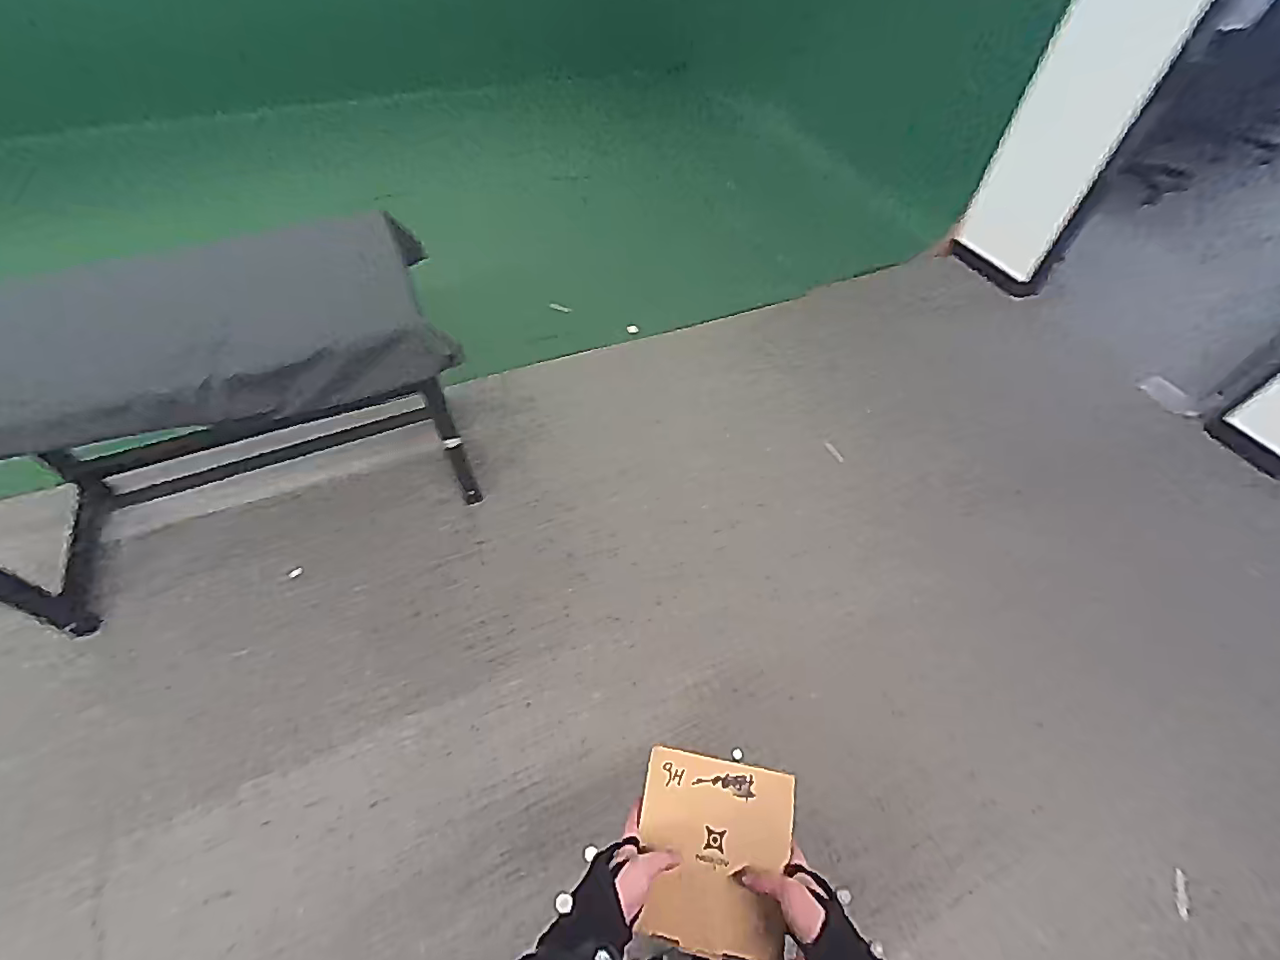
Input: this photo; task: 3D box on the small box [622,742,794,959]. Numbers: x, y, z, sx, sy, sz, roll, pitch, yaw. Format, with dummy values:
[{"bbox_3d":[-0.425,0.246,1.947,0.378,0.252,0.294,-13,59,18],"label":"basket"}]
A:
[{"bbox_3d":[0.079,0.423,0.644,0.168,0.176,0.179,8,65,5],"label":"small box"}]
